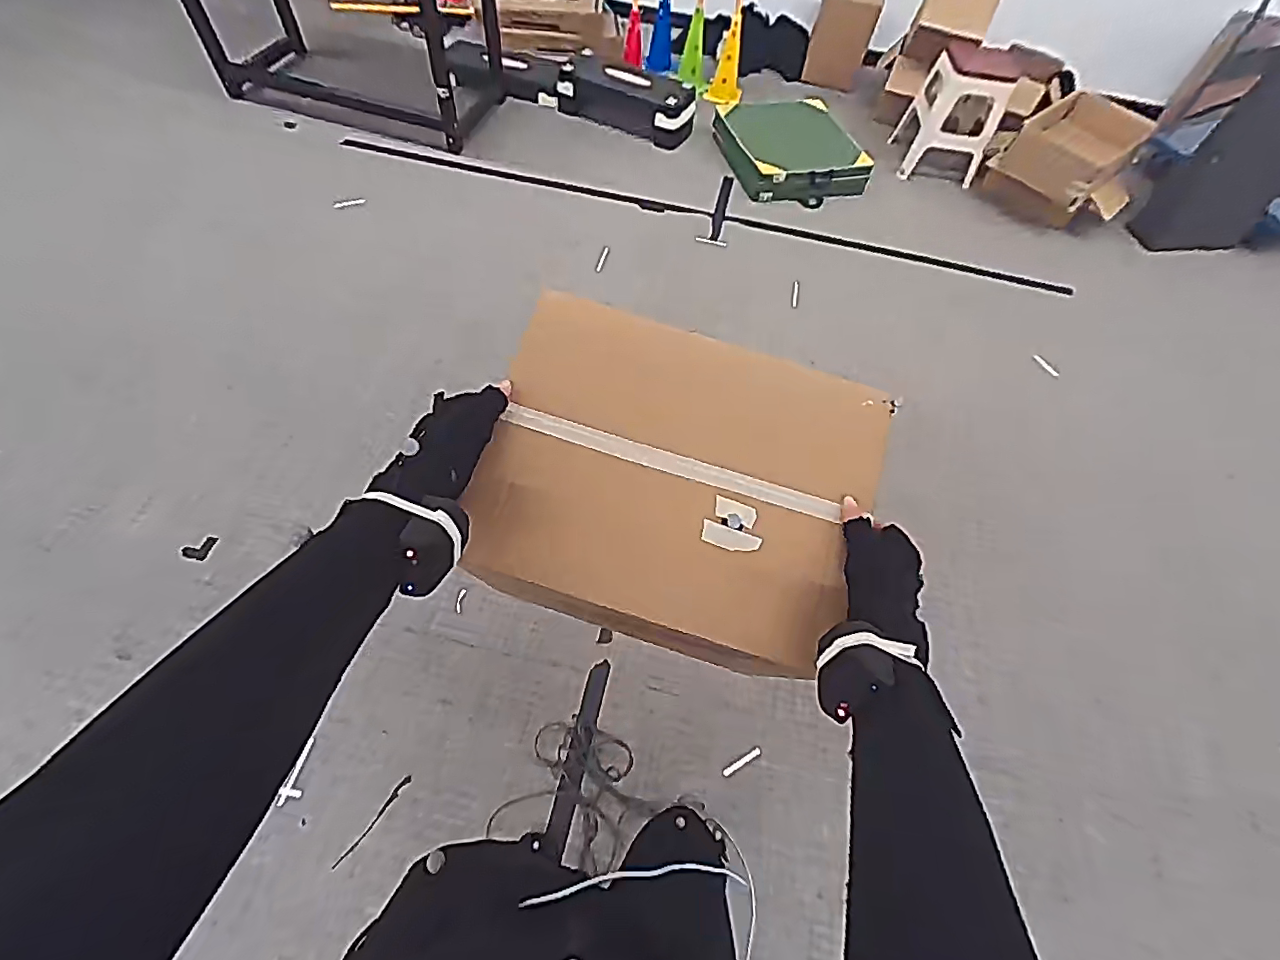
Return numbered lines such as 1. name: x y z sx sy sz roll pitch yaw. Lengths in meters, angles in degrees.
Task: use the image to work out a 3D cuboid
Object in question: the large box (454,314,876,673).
1. large box: 0.030 0.044 0.719 0.408 0.320 0.320 18 72 1
